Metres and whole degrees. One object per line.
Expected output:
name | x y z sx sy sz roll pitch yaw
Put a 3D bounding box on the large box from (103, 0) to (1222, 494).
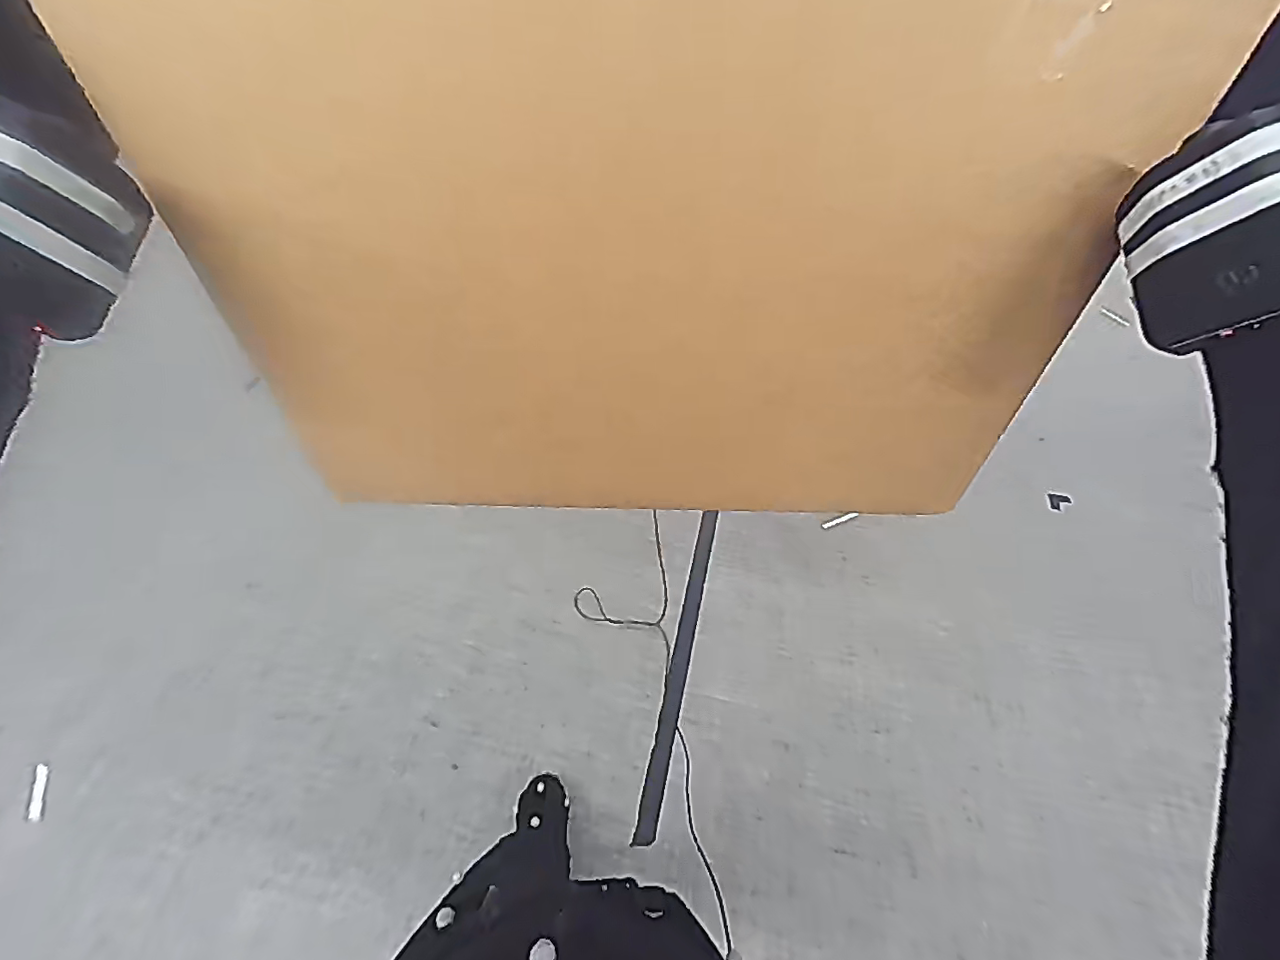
large box | 0.005 -0.202 0.361 0.408 0.320 0.320 1 46 -1
